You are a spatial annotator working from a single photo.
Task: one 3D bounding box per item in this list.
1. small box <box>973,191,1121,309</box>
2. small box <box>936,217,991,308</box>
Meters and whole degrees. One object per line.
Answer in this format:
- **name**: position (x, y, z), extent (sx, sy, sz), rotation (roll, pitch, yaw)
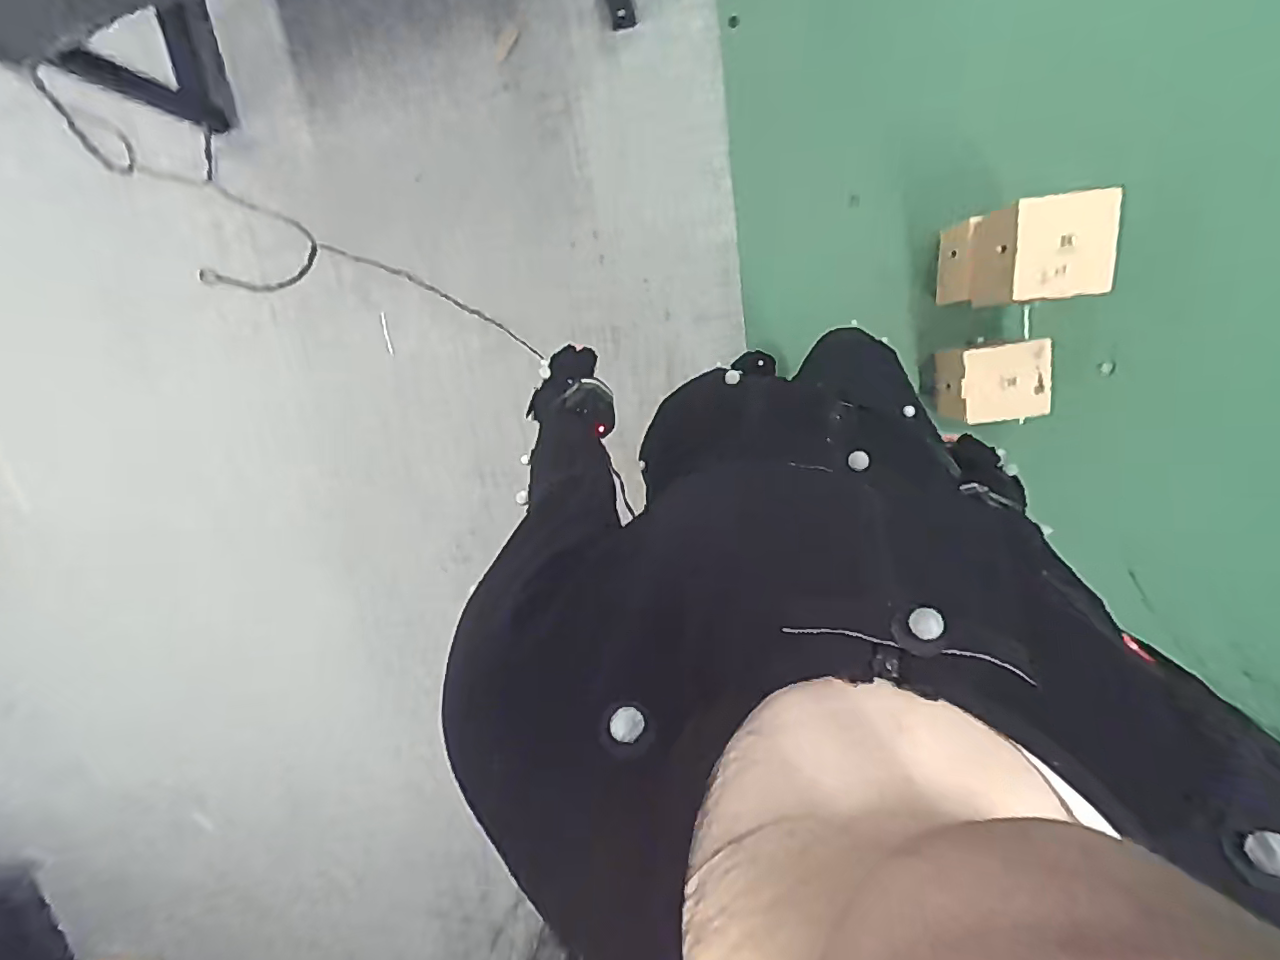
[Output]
- **small box**: position (0.768, -0.432, 1.040), extent (0.168, 0.176, 0.179), rotation (-2, 103, 9)
- **small box**: position (0.781, -0.478, 1.199), extent (0.179, 0.176, 0.168), rotation (-1, 103, 8)
